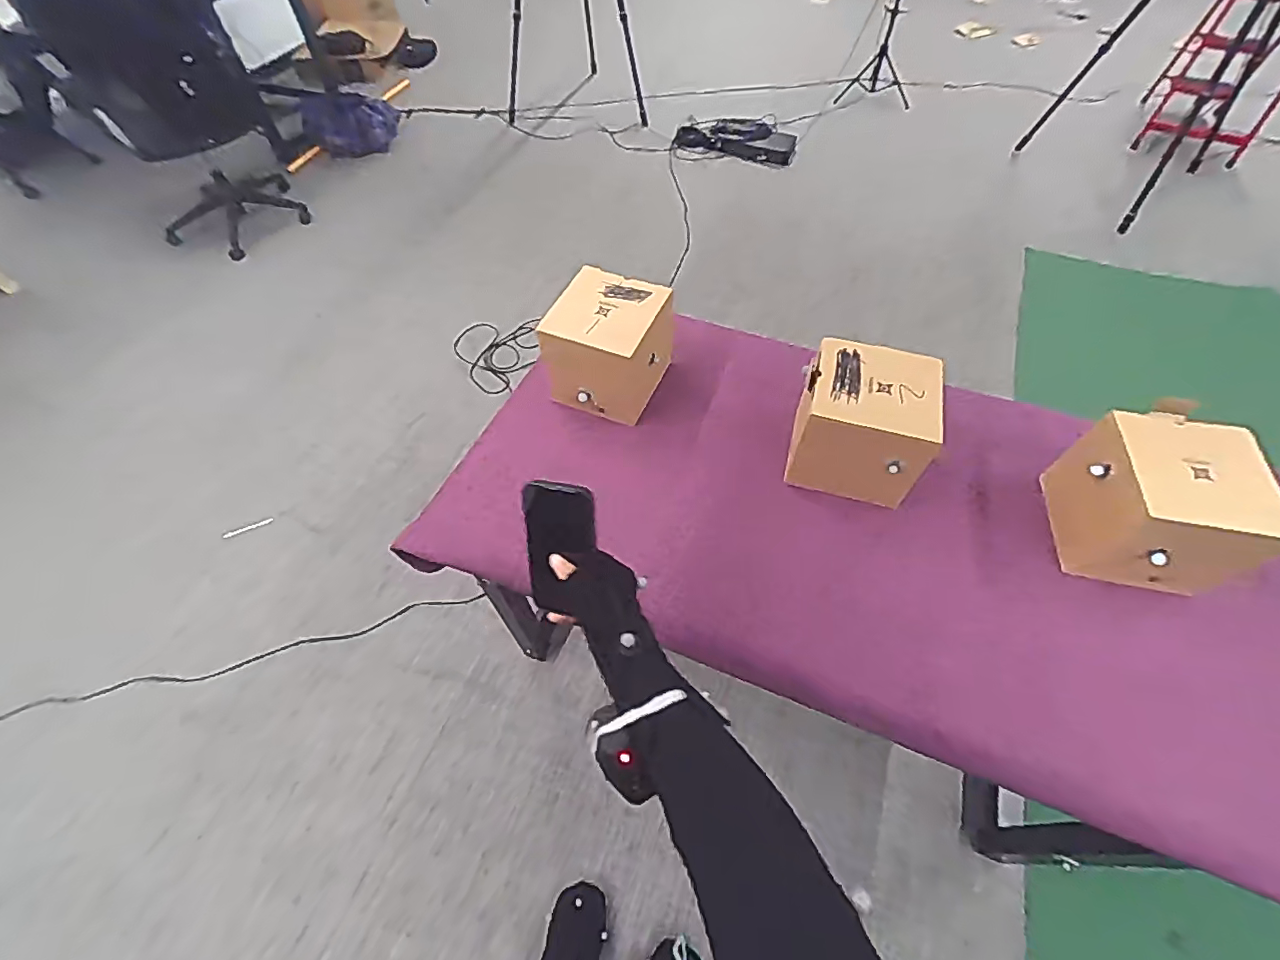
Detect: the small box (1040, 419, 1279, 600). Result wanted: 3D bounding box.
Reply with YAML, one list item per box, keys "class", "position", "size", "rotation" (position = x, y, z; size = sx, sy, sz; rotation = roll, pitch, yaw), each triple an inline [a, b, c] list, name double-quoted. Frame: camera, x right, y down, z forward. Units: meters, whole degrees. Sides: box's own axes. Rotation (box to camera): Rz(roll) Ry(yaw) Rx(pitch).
- class: "small box"
  position: [0.694, 0.045, 0.739]
  size: [0.168, 0.176, 0.179]
  rotation: [10, 55, 8]

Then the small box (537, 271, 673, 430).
- class: "small box"
  position: [-0.053, -0.219, 0.925]
  size: [0.168, 0.176, 0.179]
  rotation: [20, 59, 14]
